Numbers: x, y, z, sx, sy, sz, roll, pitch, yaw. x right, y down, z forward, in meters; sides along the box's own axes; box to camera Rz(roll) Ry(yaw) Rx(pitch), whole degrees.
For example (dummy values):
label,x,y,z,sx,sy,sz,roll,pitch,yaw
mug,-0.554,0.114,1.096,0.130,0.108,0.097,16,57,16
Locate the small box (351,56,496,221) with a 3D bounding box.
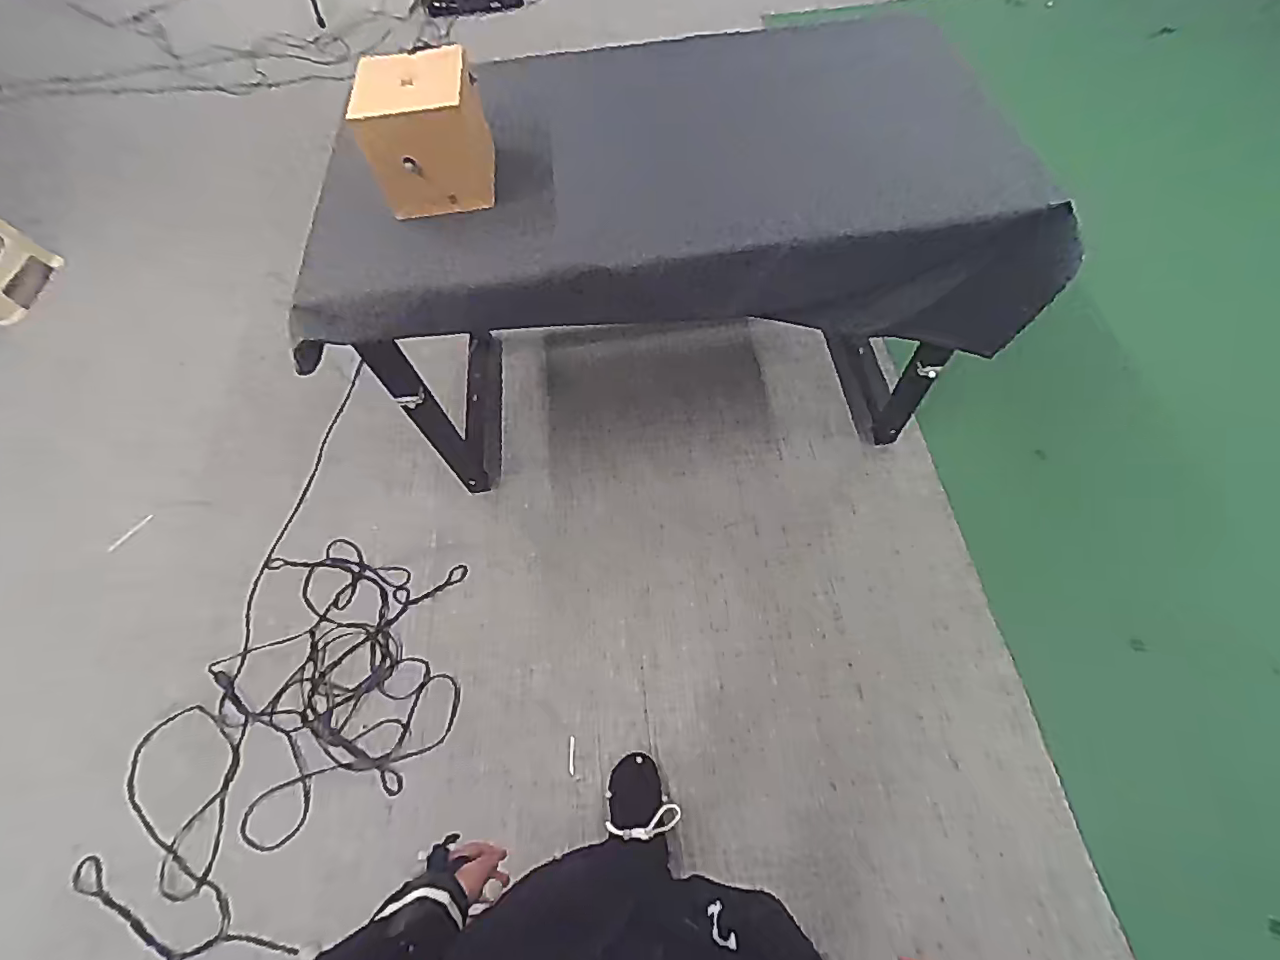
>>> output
label,x,y,z,sx,sy,sz,roll,pitch,yaw
small box,-0.341,-0.547,0.886,0.168,0.176,0.179,-8,60,-1
